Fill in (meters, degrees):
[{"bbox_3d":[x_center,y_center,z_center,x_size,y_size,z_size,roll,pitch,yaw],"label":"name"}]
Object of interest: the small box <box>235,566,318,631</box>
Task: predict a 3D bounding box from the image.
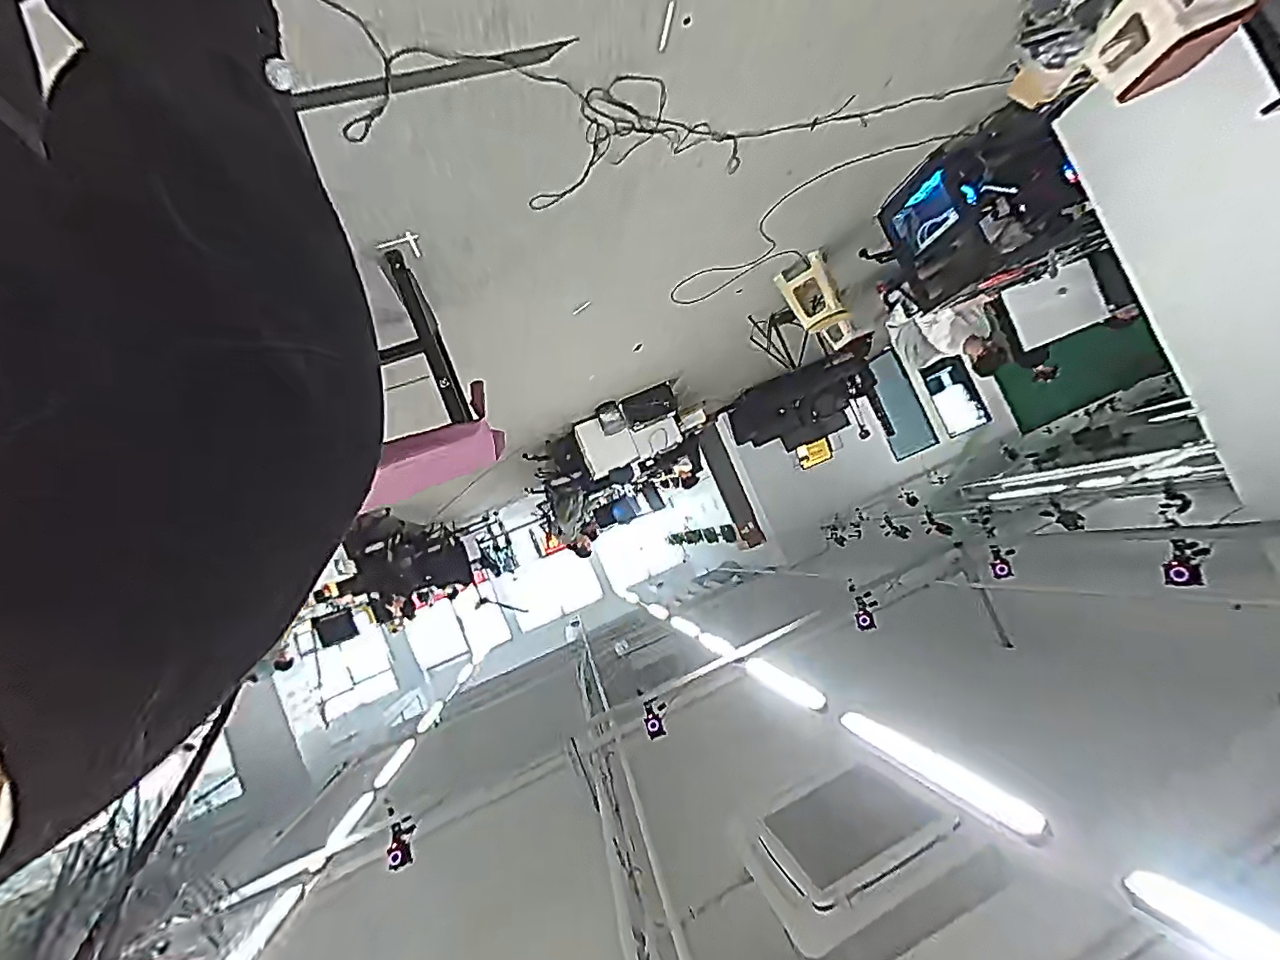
[{"bbox_3d":[-1.300,0.417,1.928,0.179,0.176,0.168,-23,177,-7],"label":"small box"}]
